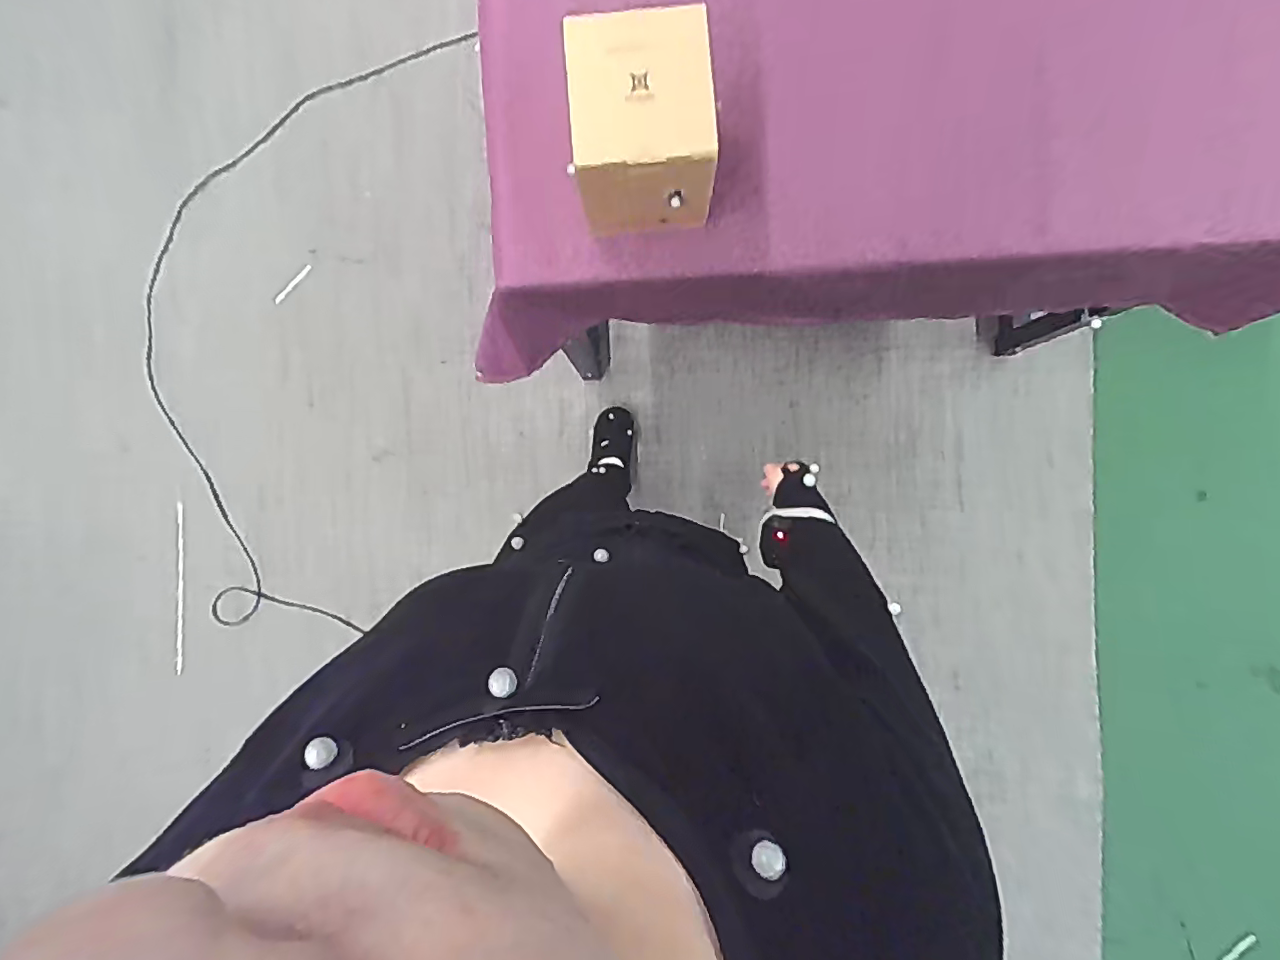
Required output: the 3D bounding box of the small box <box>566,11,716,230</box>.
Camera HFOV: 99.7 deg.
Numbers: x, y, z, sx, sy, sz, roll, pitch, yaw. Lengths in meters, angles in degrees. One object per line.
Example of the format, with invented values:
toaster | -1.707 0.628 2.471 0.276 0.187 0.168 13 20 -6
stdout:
small box | 0.002 -0.439 0.693 0.168 0.176 0.179 -4 88 0
